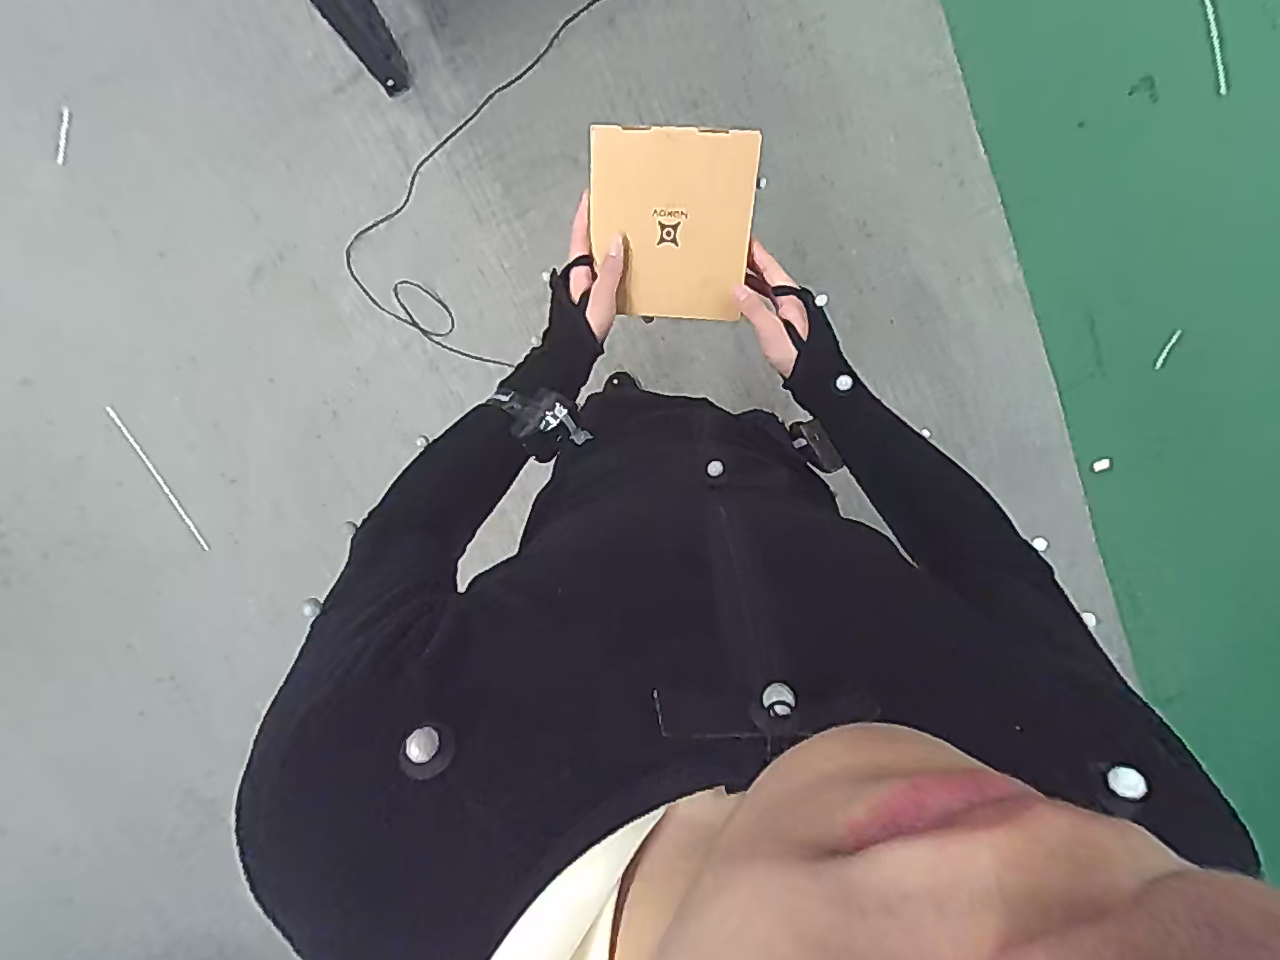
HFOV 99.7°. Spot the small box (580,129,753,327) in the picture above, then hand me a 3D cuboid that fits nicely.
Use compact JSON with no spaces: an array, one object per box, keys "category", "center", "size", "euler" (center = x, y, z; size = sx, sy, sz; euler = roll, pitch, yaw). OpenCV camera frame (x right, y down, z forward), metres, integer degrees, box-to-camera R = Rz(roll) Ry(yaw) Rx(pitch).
[{"category":"small box","center":[0.030,-0.277,0.614],"size":[0.168,0.176,0.179],"euler":[4,112,4]}]
